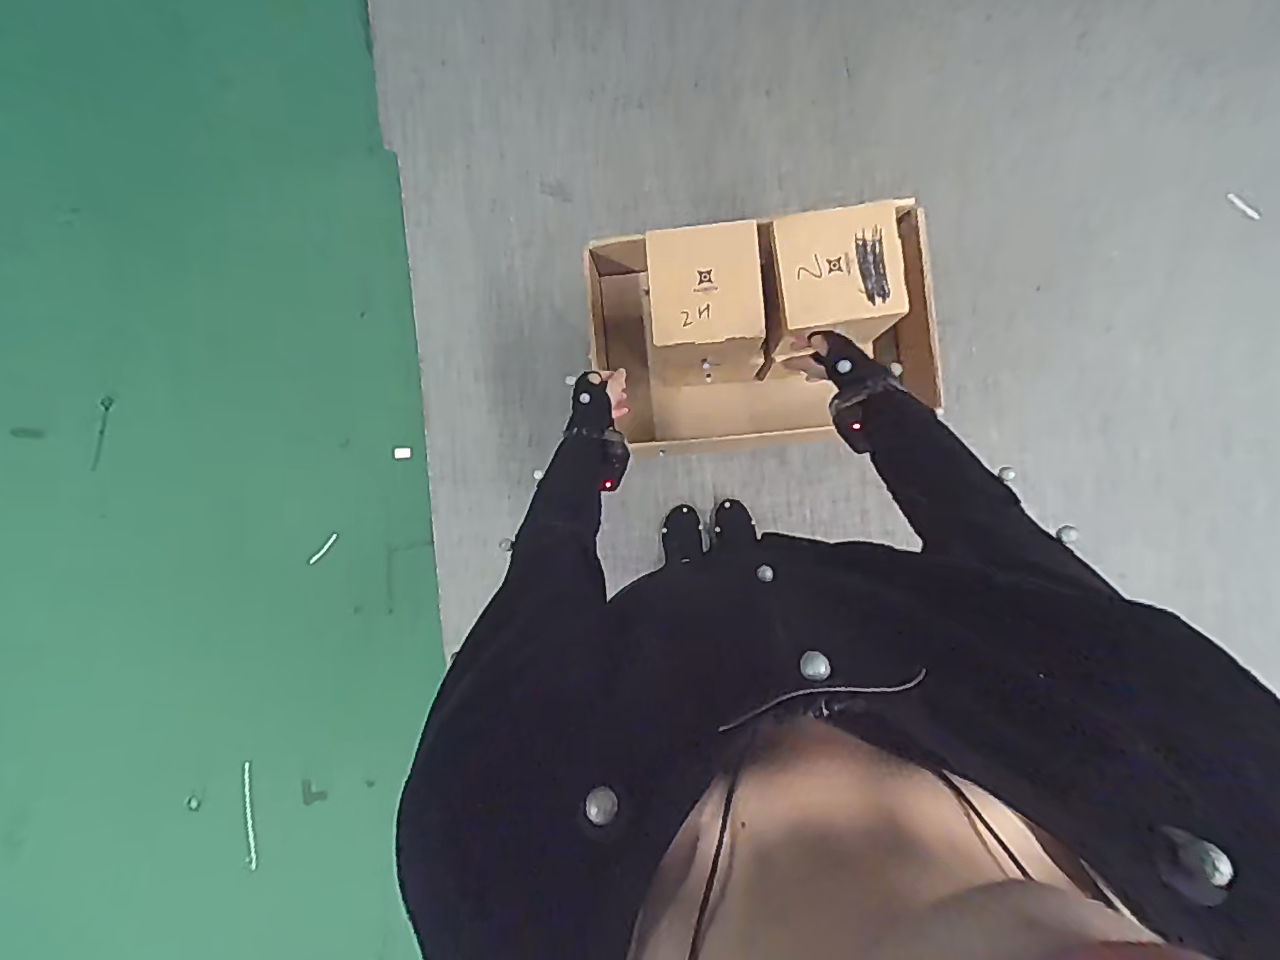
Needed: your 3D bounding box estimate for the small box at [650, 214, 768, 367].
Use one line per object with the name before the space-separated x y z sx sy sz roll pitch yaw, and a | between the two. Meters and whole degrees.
small box | 0.103 -0.291 0.862 0.168 0.176 0.179 -4 88 4
